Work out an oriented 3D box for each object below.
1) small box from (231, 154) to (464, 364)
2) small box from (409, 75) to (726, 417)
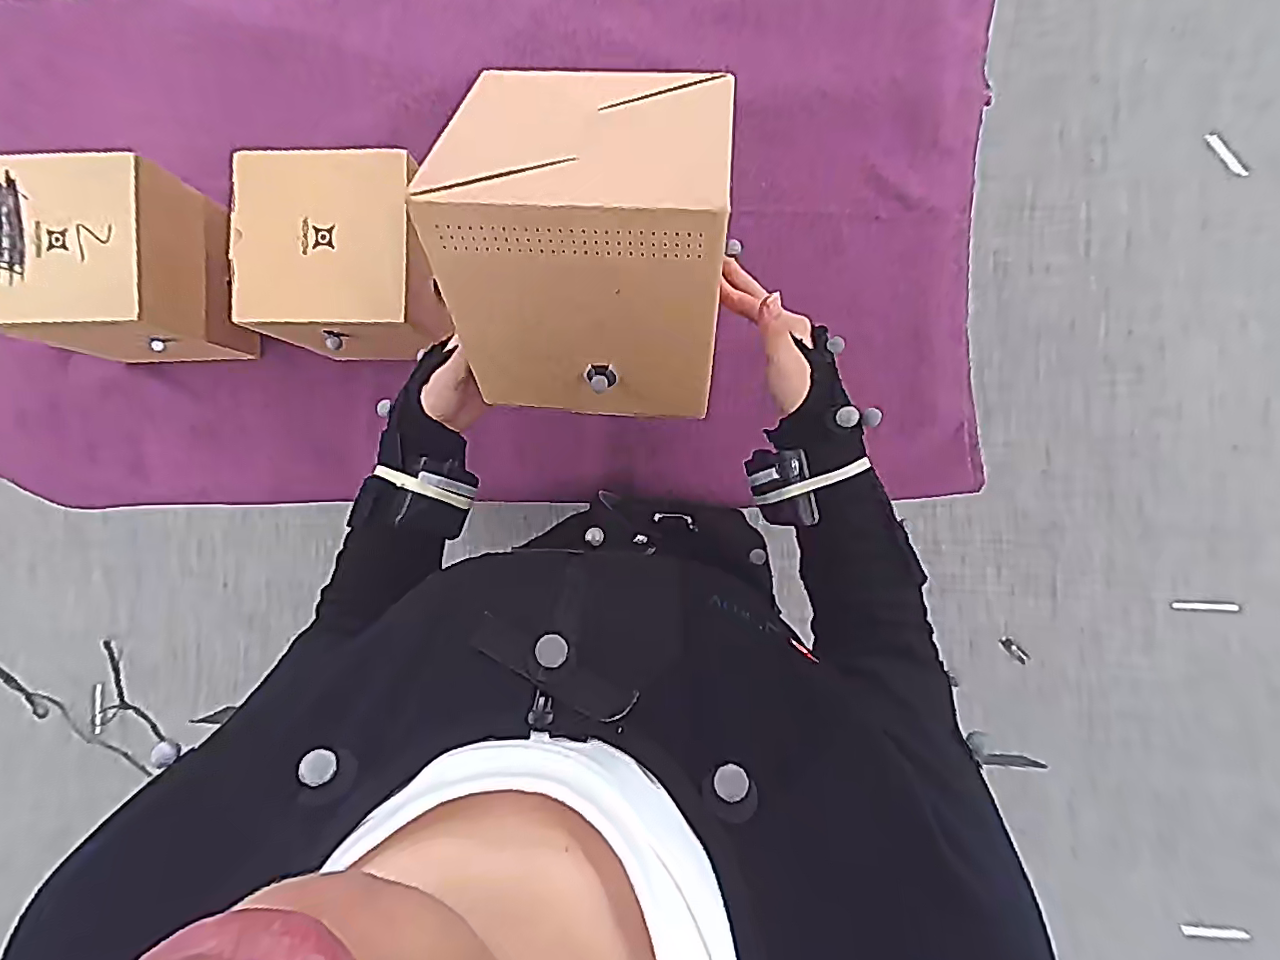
[{"bbox_3d":[-0.301,-0.228,0.594,0.179,0.176,0.168,1,90,4],"label":"small box"},{"bbox_3d":[-0.031,-0.164,0.388,0.179,0.176,0.168,4,56,5],"label":"small box"}]
